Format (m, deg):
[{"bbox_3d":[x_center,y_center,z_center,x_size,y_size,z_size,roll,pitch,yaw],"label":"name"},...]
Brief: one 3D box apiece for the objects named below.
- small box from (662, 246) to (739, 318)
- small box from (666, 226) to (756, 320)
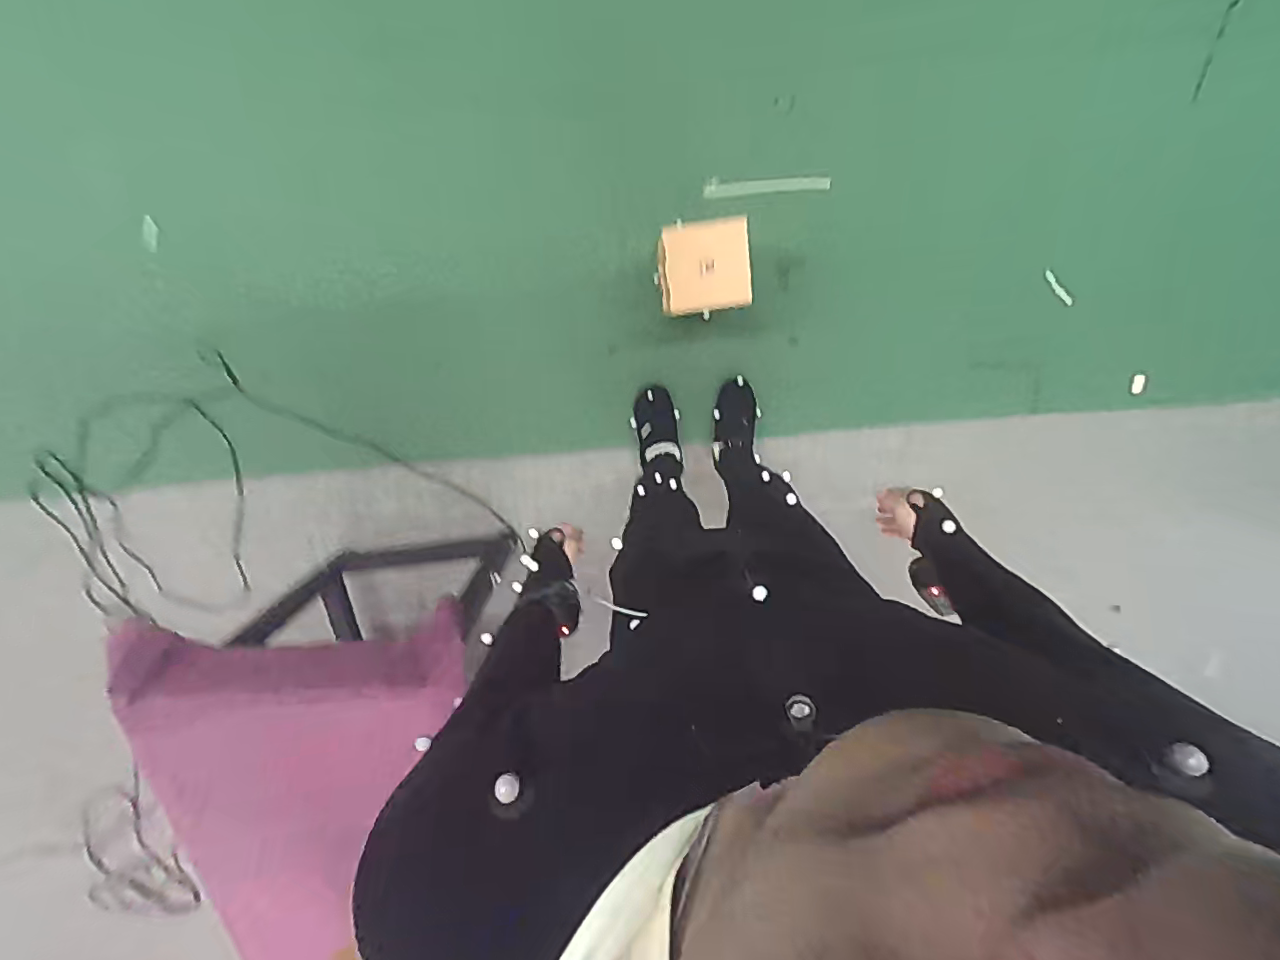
[{"bbox_3d":[0.149,-0.499,1.355,0.179,0.176,0.168,-4,107,3],"label":"small box"},{"bbox_3d":[0.152,-0.454,1.198,0.179,0.176,0.168,-7,107,5],"label":"small box"}]
